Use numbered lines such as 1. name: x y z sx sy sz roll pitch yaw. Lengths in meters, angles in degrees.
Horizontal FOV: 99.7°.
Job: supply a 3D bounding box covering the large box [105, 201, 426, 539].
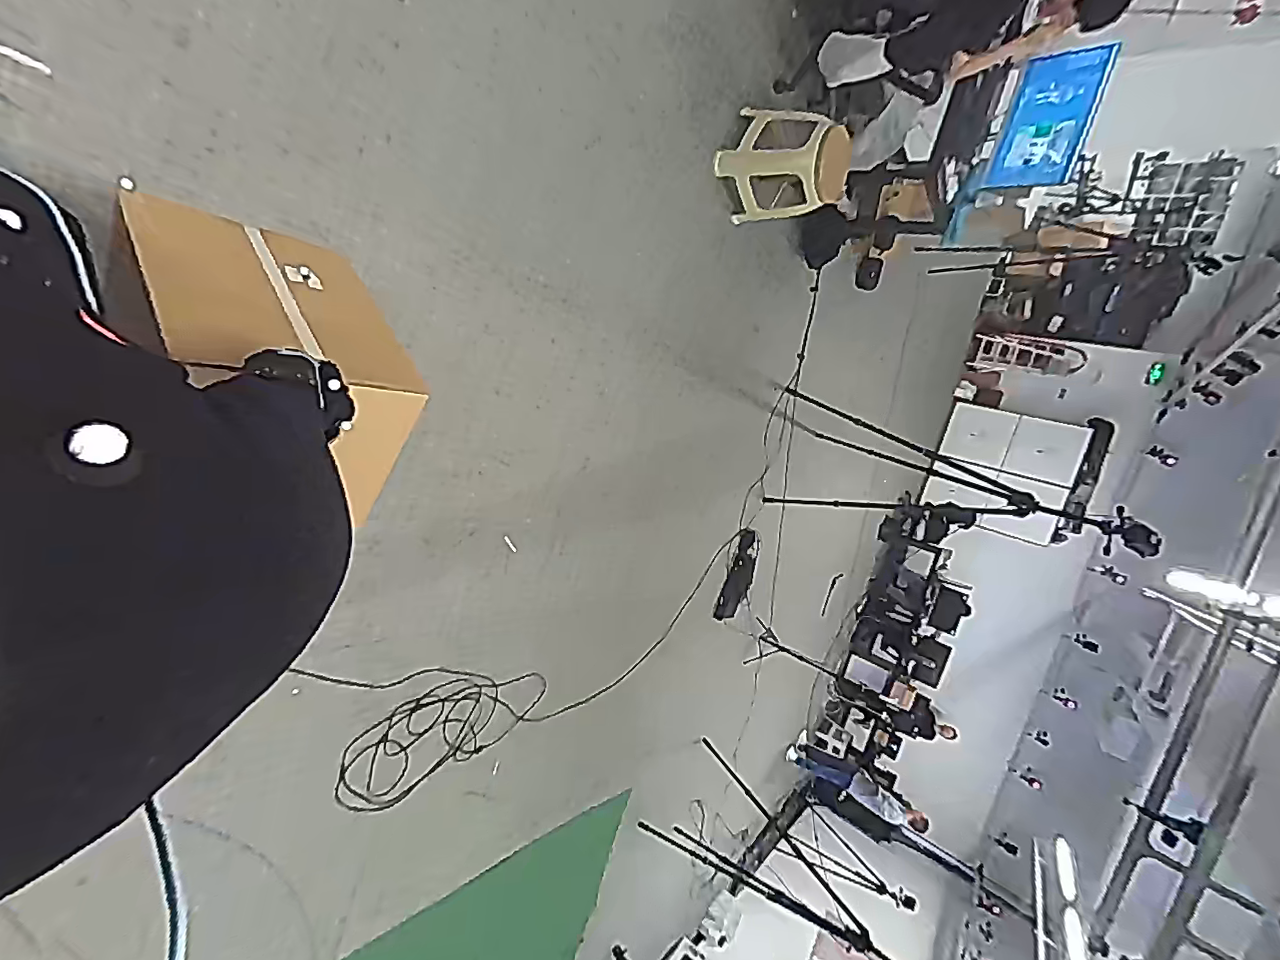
1. large box: -0.620 -0.163 0.880 0.320 0.408 0.320 -1 135 -52
